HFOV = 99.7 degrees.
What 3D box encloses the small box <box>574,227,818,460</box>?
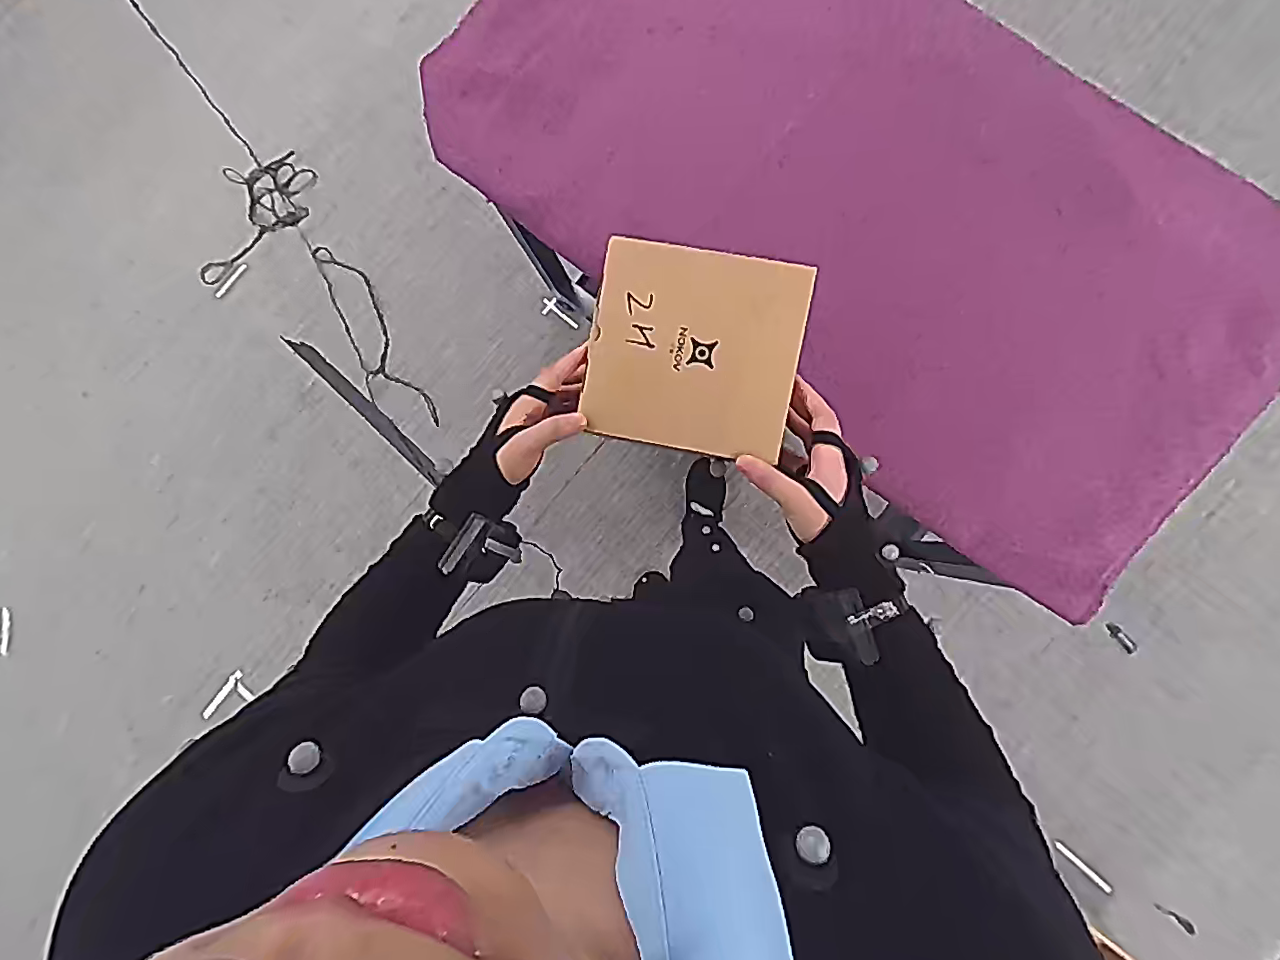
[{"bbox_3d":[0.052,-0.117,0.526,0.179,0.176,0.168,11,93,5],"label":"small box"}]
